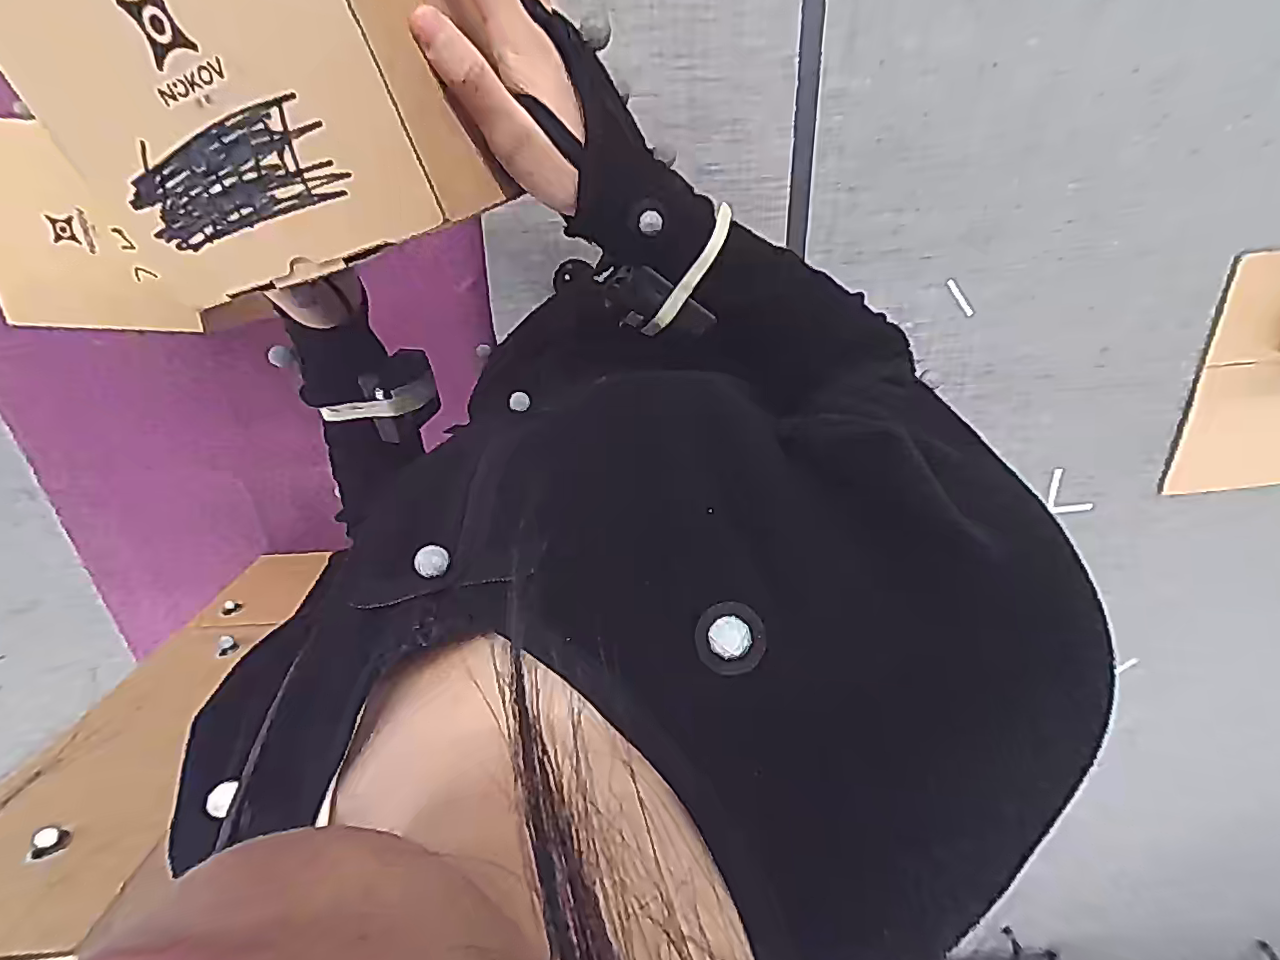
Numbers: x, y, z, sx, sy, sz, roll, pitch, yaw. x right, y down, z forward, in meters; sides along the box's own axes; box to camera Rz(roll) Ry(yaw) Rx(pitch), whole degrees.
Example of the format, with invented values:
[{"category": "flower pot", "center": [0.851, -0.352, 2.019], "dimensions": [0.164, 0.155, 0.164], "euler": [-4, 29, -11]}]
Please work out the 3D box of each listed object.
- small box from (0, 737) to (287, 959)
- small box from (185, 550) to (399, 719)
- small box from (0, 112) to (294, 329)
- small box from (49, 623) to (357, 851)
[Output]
[{"category": "small box", "center": [-0.438, 0.337, 0.441], "dimensions": [0.179, 0.176, 0.168], "euler": [-3, 114, -3]}, {"category": "small box", "center": [-0.452, 0.208, 0.743], "dimensions": [0.179, 0.176, 0.168], "euler": [-3, 114, -2]}, {"category": "small box", "center": [-0.490, -0.250, 0.538], "dimensions": [0.179, 0.176, 0.168], "euler": [1, 114, -4]}, {"category": "small box", "center": [-0.449, 0.275, 0.593], "dimensions": [0.179, 0.176, 0.168], "euler": [-3, 114, -1]}]
